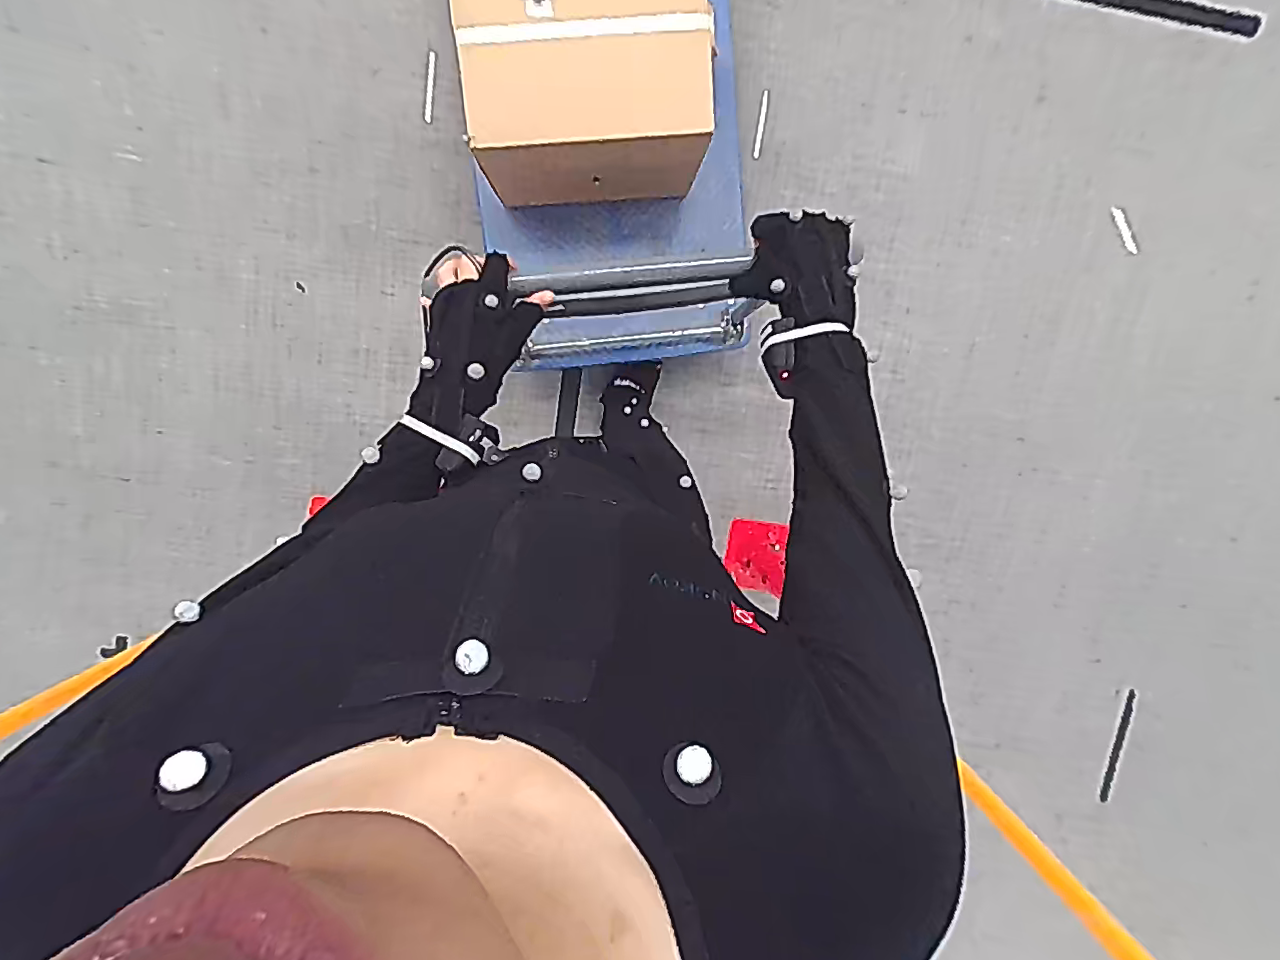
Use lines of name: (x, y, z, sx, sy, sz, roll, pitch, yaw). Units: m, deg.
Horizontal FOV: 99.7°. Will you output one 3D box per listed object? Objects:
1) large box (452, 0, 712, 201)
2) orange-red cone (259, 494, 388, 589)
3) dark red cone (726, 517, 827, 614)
large box: (-0.097, -0.741, 1.005, 0.408, 0.320, 0.320, -5, 101, -2)
orange-red cone: (-0.773, 0.176, 1.274, 0.198, 0.360, 0.199, 15, 97, -7)
dark red cone: (0.358, 0.234, 1.332, 0.201, 0.394, 0.202, 7, 100, -7)
